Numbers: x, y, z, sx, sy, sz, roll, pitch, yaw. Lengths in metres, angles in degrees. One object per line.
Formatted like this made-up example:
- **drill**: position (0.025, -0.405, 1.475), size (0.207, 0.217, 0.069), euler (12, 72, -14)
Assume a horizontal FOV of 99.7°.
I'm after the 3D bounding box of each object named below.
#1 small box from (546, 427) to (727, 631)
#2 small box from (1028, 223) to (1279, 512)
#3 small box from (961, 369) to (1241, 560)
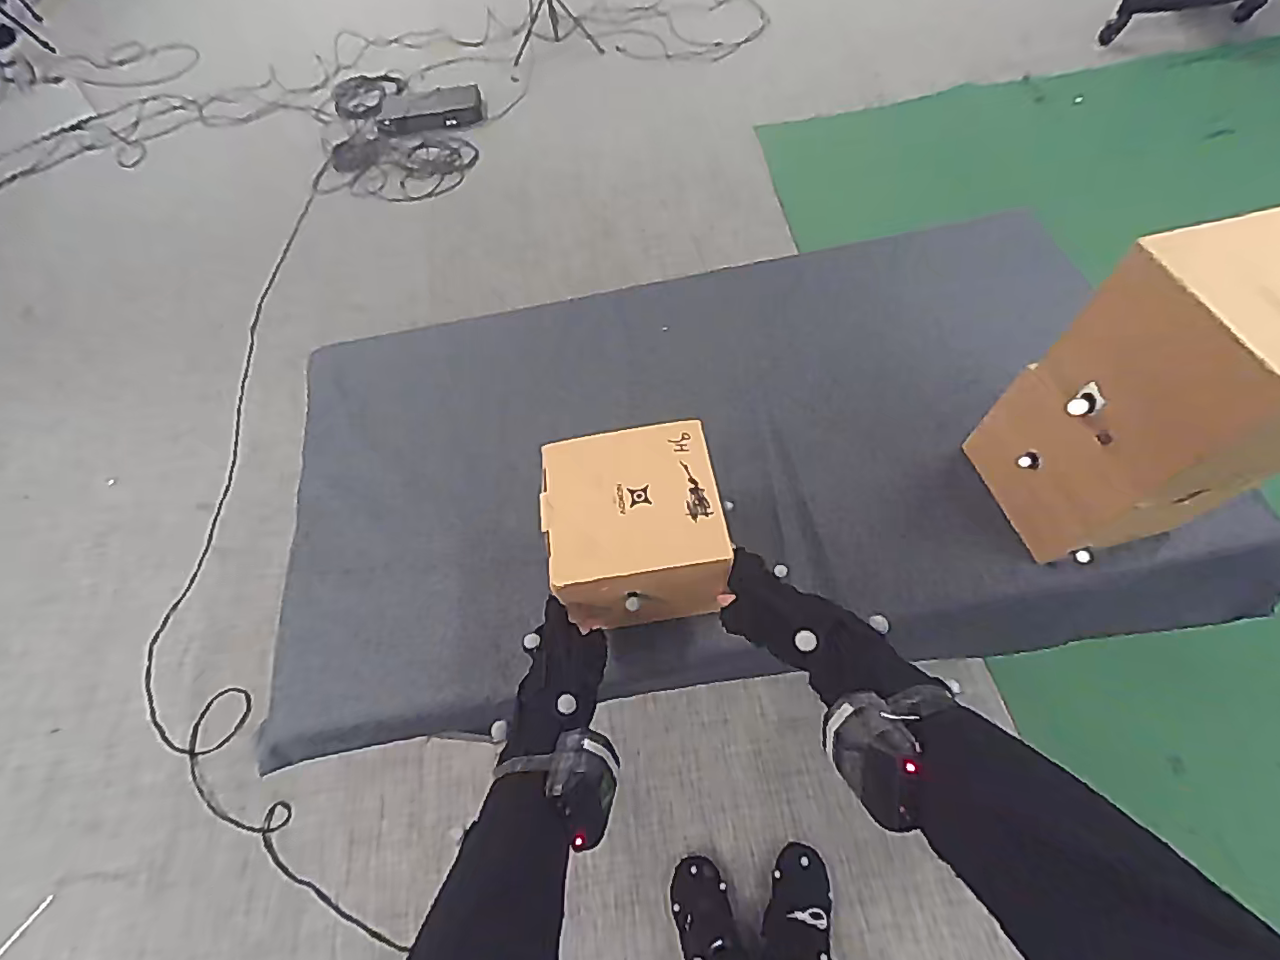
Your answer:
- **small box**: position (-0.002, 0.064, 0.624), size (0.179, 0.176, 0.168), euler (-9, 59, 0)
- **small box**: position (0.502, -0.092, 0.475), size (0.179, 0.176, 0.168), euler (-13, 59, 0)
- **small box**: position (0.516, -0.022, 0.620), size (0.168, 0.176, 0.179), euler (-15, 60, -2)
